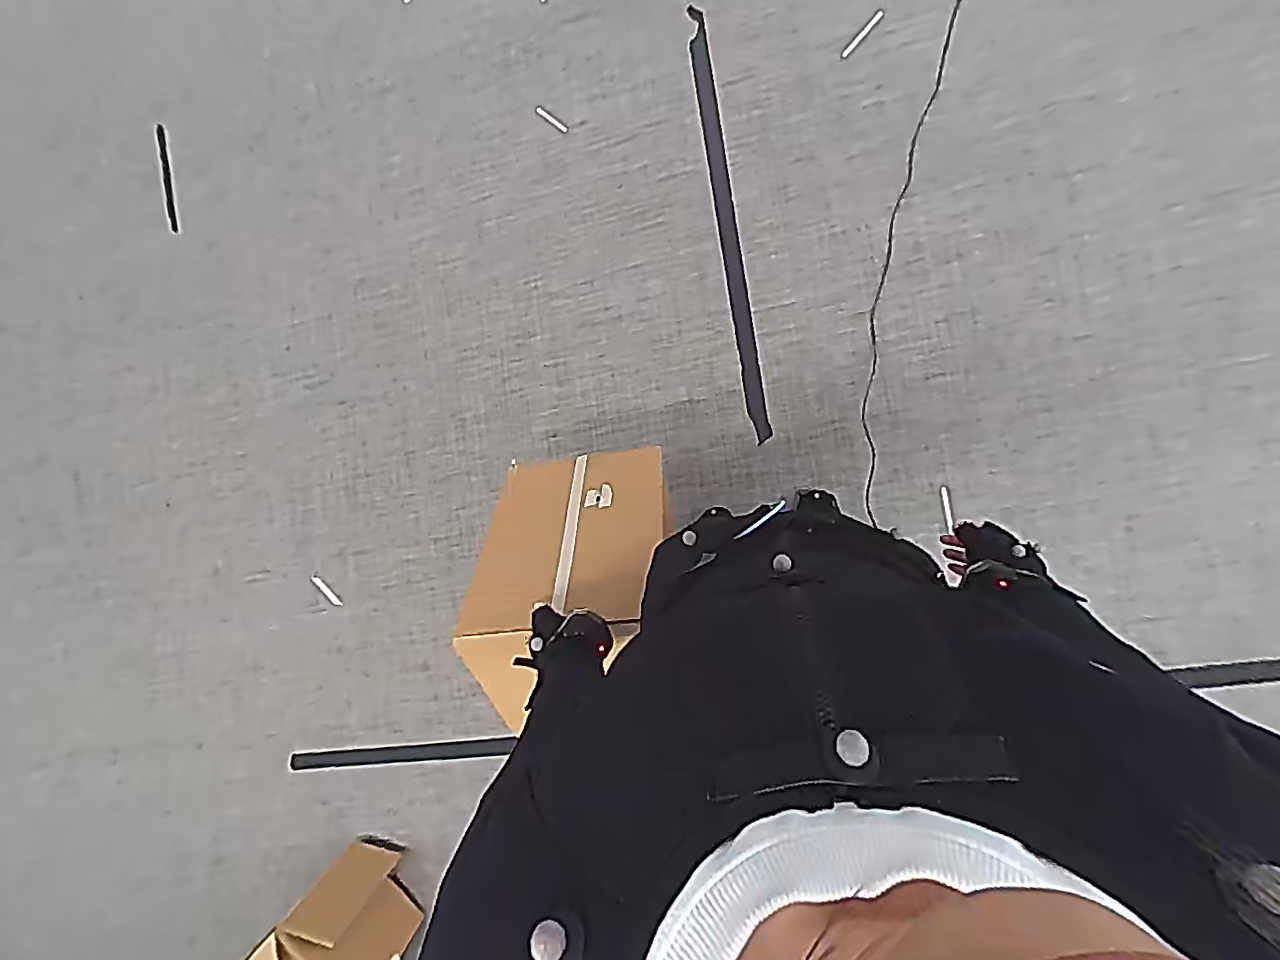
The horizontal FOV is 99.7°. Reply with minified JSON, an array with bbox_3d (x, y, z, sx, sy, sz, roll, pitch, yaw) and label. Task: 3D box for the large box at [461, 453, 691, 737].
[{"bbox_3d":[-0.086,0.203,1.009,0.320,0.408,0.320,-6,128,6],"label":"large box"}]
